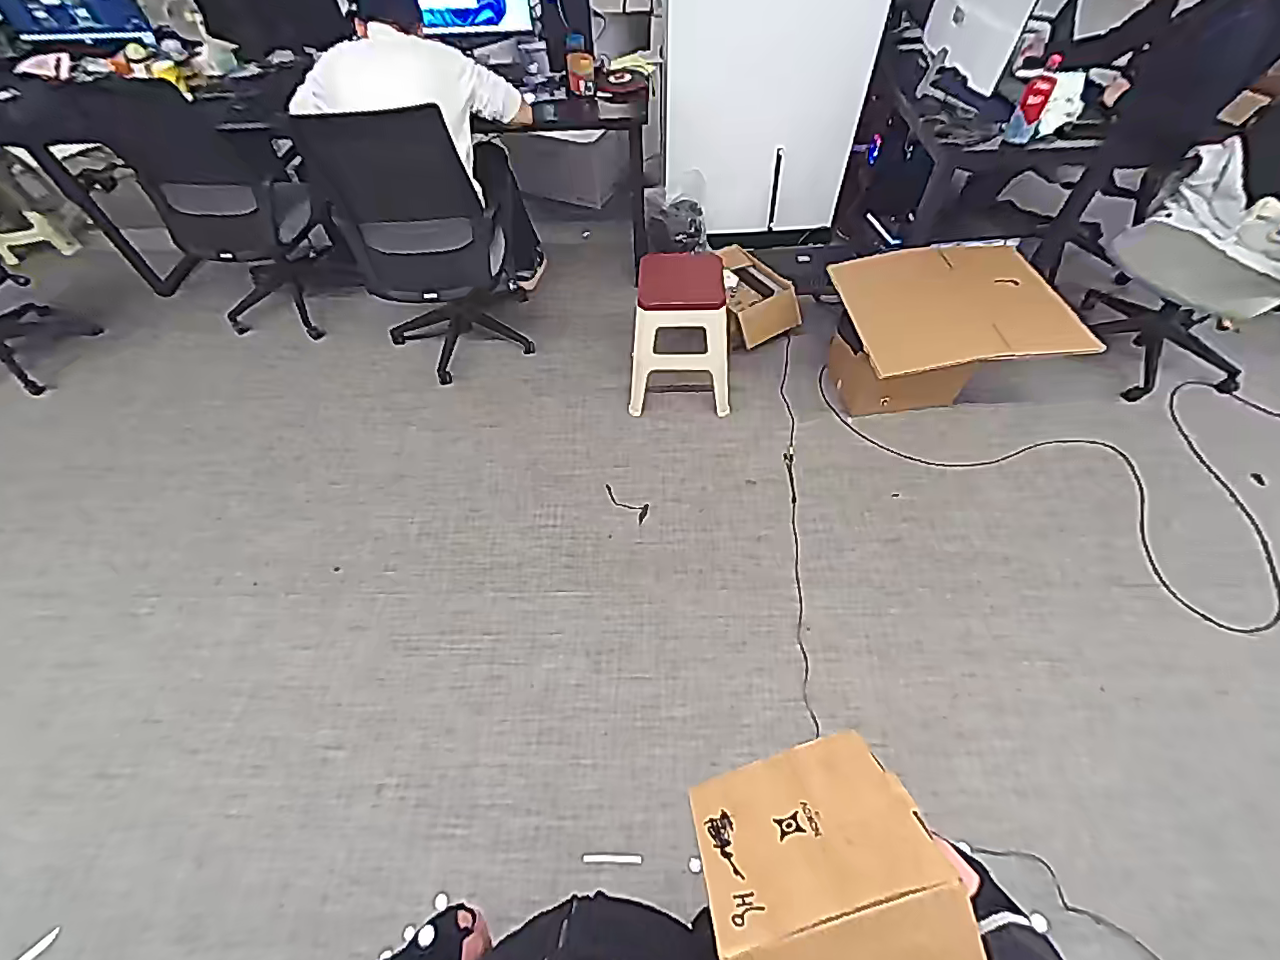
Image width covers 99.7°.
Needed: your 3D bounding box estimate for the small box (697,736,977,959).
[{"bbox_3d":[0.167,0.370,0.472,0.179,0.168,0.176,-19,98,0],"label":"small box"}]
